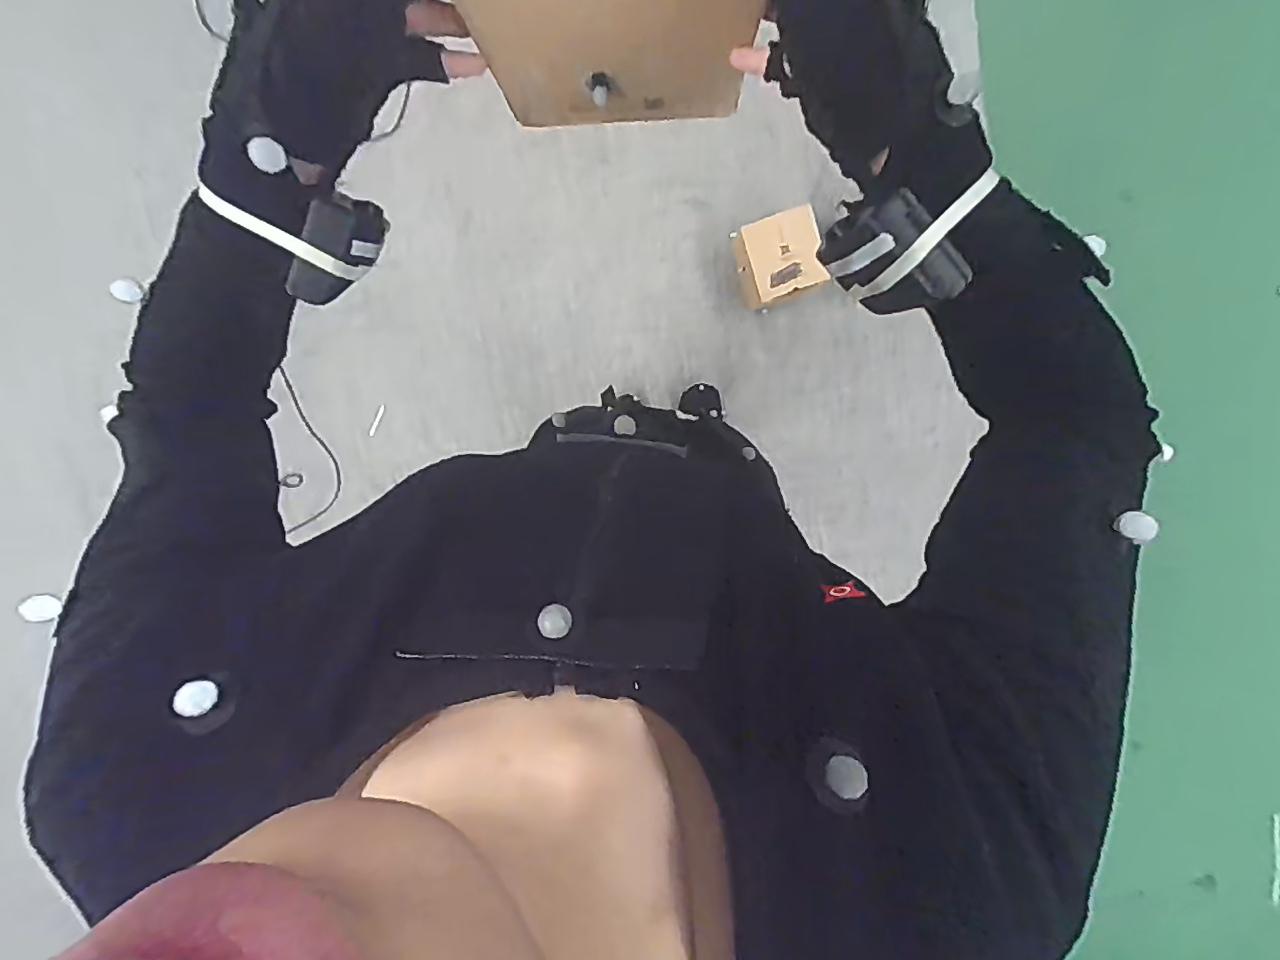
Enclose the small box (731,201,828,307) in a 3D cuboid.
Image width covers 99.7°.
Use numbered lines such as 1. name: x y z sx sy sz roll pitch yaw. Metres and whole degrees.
1. small box: 0.325 -0.525 1.287 0.168 0.176 0.179 -18 98 5
